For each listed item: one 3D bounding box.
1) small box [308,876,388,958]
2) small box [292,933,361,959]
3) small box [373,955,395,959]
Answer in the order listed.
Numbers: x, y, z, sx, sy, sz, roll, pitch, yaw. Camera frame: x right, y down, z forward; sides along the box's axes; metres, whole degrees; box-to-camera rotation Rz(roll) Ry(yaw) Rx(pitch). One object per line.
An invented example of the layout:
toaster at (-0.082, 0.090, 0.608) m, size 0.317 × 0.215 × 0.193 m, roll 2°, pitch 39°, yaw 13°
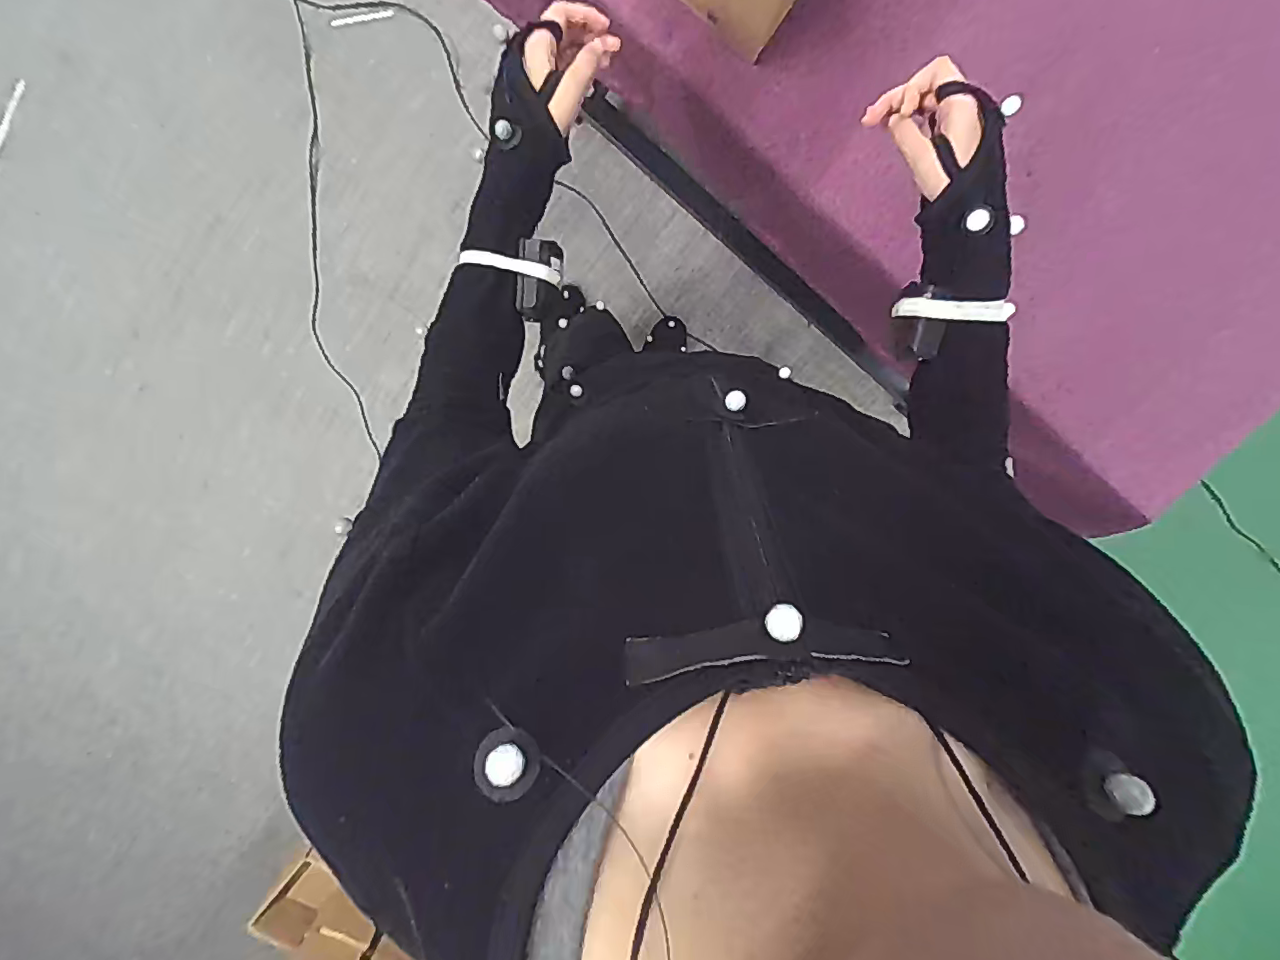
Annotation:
small box at (-0.989, 1.498, 1.823) m, size 0.168 × 0.176 × 0.179 m, roll 38°, pitch 102°, yaw -13°
small box at (-1.003, 1.554, 1.668) m, size 0.179 × 0.176 × 0.168 m, roll 33°, pitch 103°, yaw -12°
small box at (-0.825, 1.654, 1.700) m, size 0.179 × 0.176 × 0.168 m, roll 34°, pitch 102°, yaw -10°
